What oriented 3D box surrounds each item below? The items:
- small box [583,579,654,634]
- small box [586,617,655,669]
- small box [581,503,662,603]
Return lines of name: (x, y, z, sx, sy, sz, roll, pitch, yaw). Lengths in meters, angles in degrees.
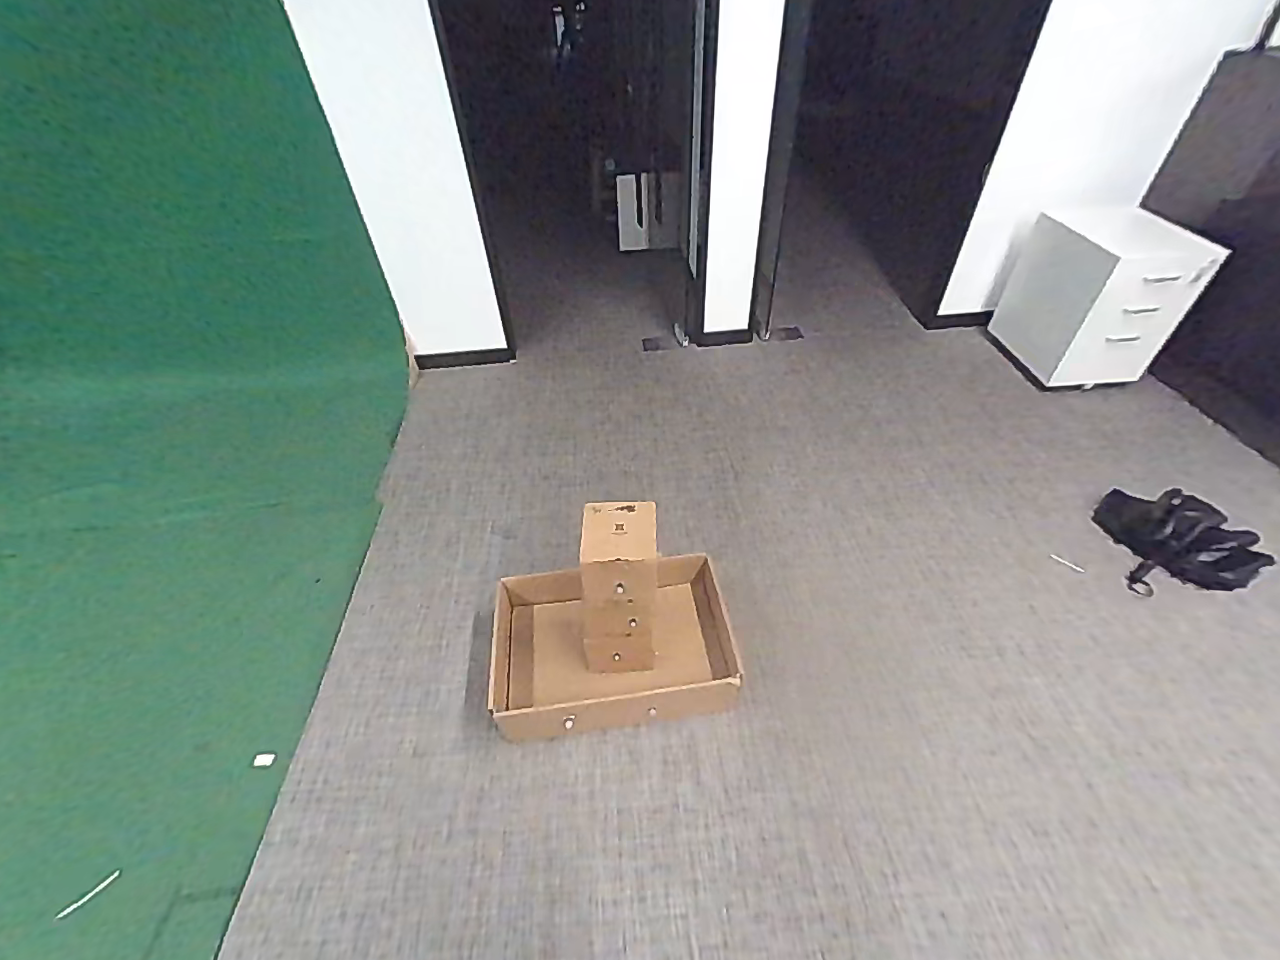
small box: (-0.048, 0.276, 1.377, 0.168, 0.176, 0.179, 0, 43, 2)
small box: (-0.048, 0.407, 1.497, 0.179, 0.176, 0.168, -4, 43, 3)
small box: (-0.038, 0.177, 1.274, 0.168, 0.176, 0.179, -4, 44, 4)
